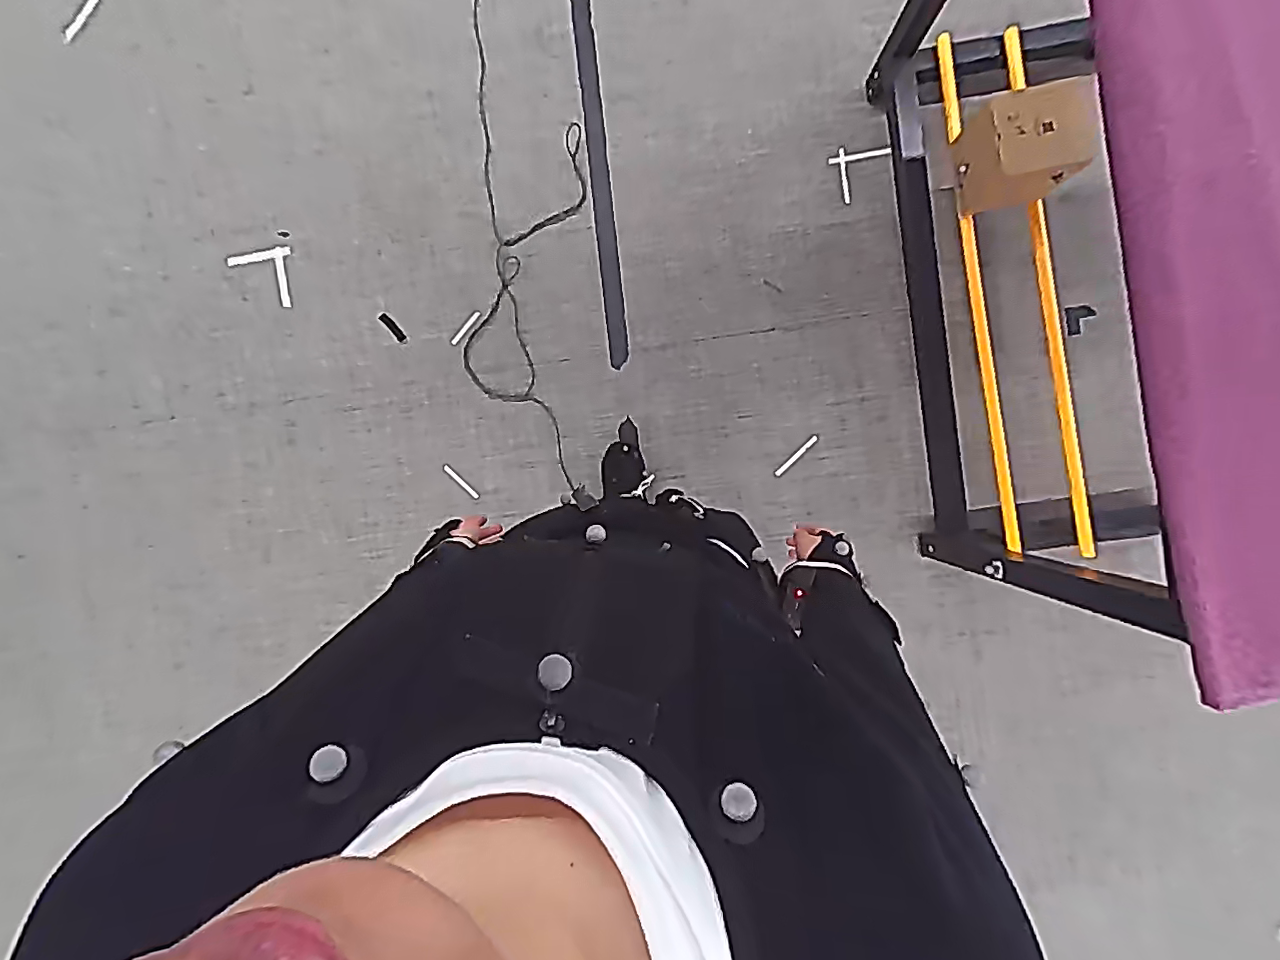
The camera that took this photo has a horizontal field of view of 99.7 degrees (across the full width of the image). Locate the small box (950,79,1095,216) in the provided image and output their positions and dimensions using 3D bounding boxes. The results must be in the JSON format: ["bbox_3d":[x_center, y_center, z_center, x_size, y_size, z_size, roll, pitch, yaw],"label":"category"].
[{"bbox_3d":[0.787,-0.681,1.129,0.179,0.176,0.168,-10,91,5],"label":"small box"}]
